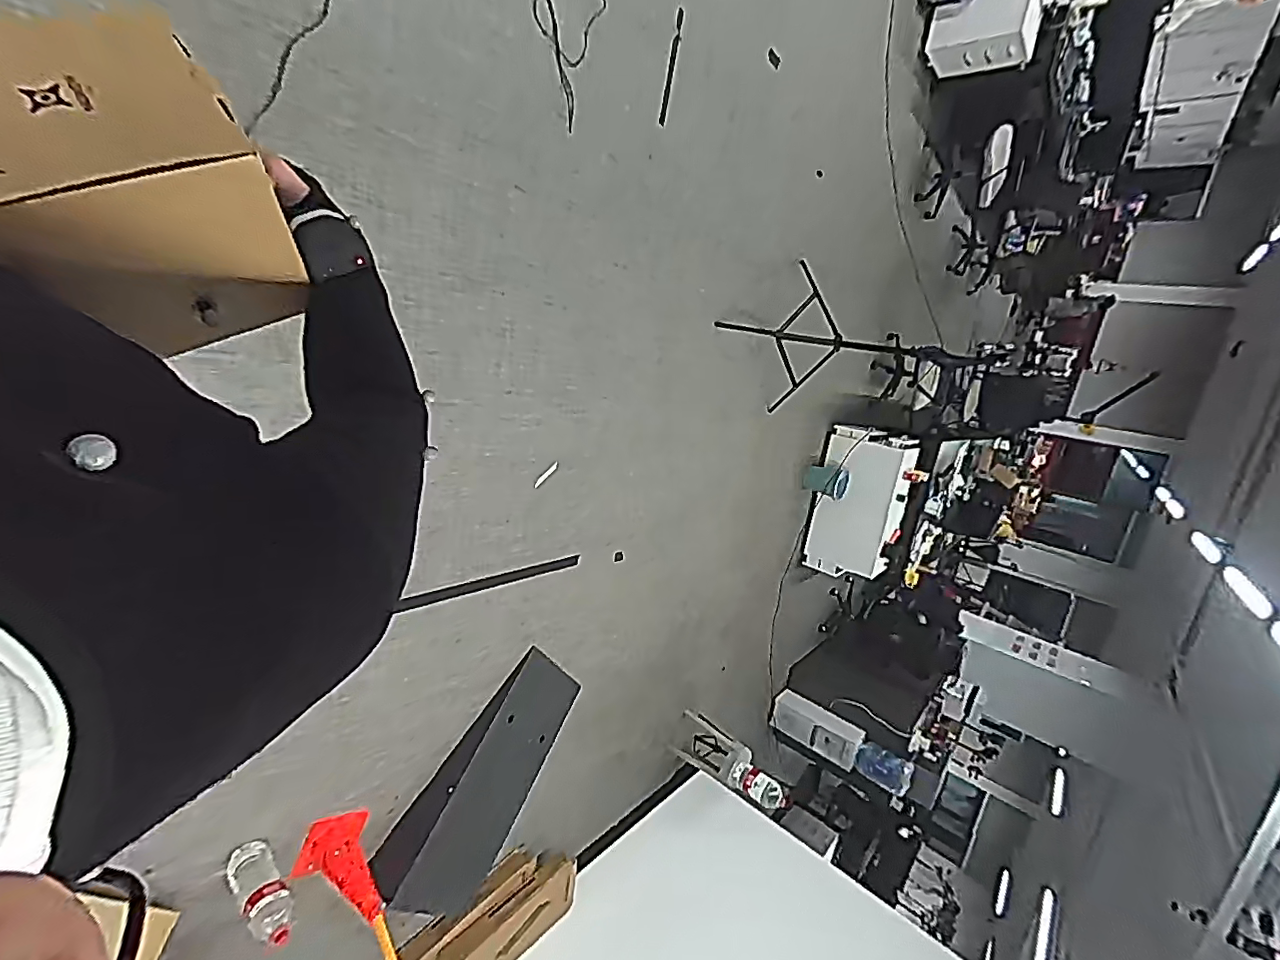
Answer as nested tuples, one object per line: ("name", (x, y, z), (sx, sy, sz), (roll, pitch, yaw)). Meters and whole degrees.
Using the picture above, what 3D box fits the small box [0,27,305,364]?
("small box", (-0.417, -0.232, 0.458), (0.179, 0.168, 0.176), (-33, 168, -26))
